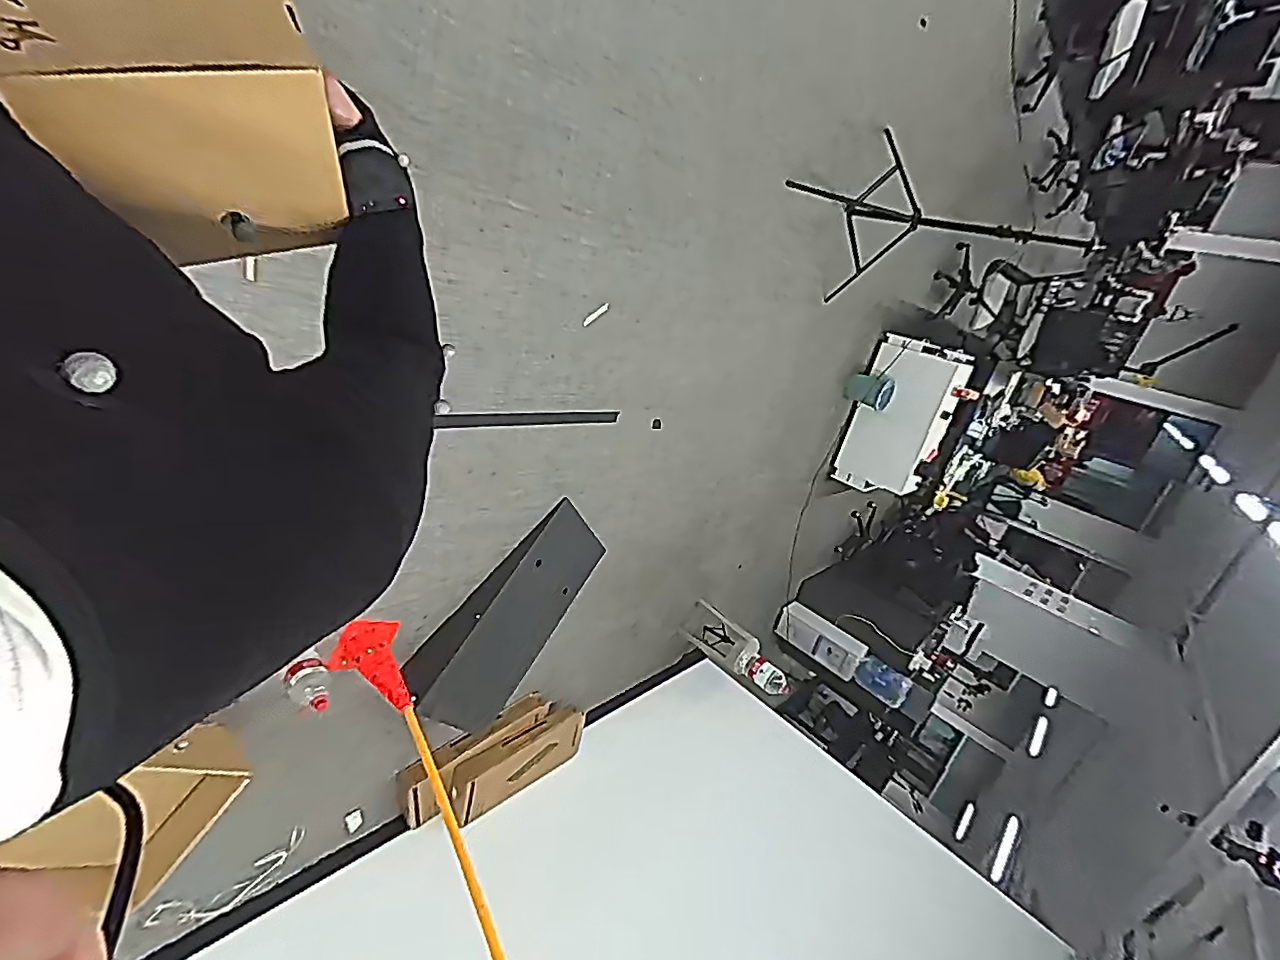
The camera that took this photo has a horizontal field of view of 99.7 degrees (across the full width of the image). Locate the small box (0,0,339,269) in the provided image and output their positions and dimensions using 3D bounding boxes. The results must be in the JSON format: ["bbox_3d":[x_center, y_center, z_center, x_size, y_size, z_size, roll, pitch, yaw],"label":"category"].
[{"bbox_3d":[-0.365,-0.301,0.437,0.179,0.168,0.176,-24,170,-26],"label":"small box"}]
